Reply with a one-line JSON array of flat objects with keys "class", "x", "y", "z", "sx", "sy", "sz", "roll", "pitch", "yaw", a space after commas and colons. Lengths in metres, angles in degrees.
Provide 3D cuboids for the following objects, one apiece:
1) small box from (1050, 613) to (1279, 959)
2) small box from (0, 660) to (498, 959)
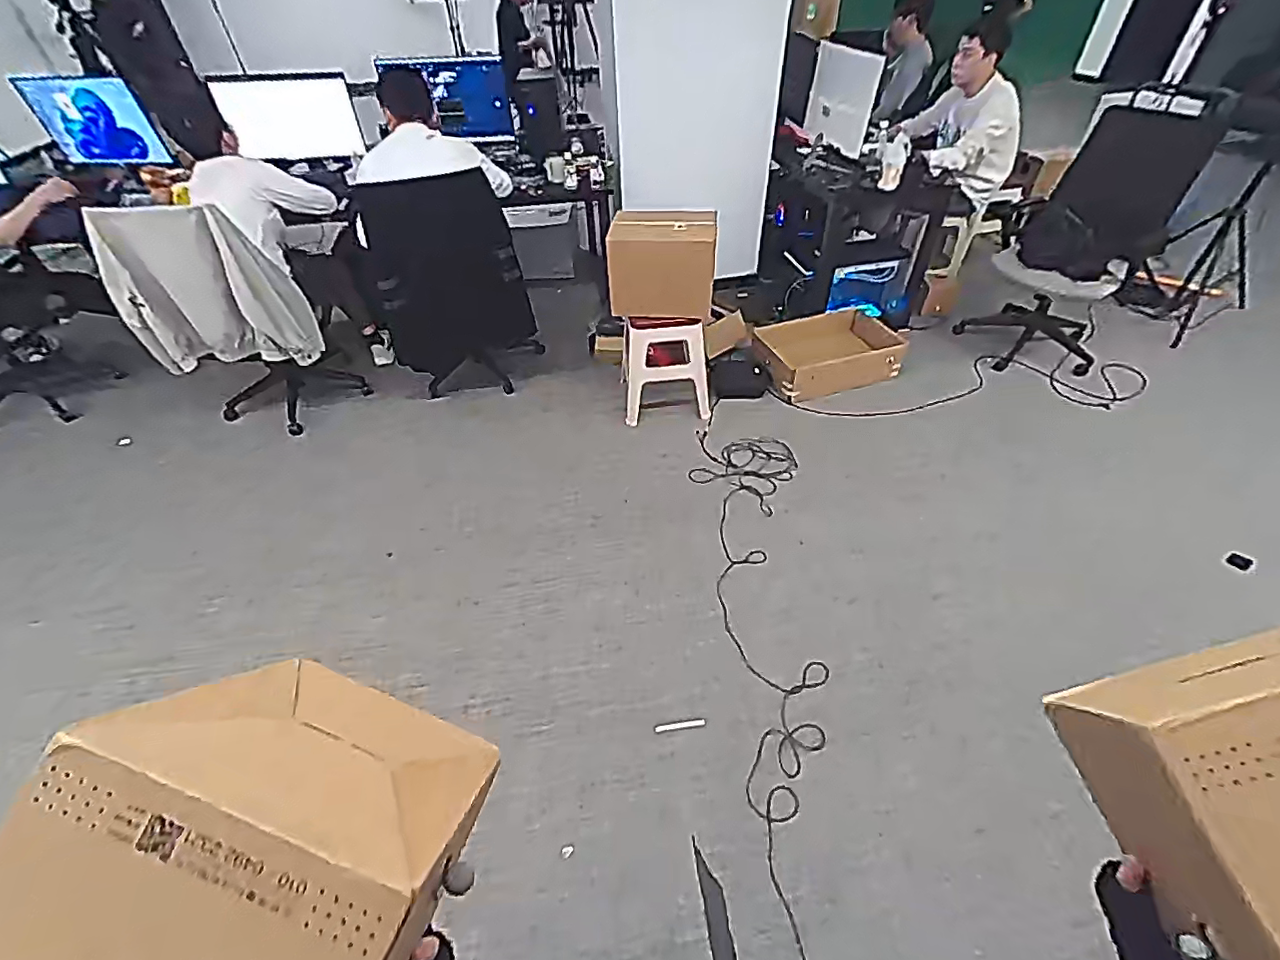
[{"class": "small box", "x": 0.367, "y": 0.171, "z": 0.287, "sx": 0.168, "sy": 0.179, "sz": 0.176, "roll": -23, "pitch": 67, "yaw": 14}, {"class": "small box", "x": -0.198, "y": 0.212, "z": 0.284, "sx": 0.168, "sy": 0.179, "sz": 0.176, "roll": 24, "pitch": 80, "yaw": 2}]
